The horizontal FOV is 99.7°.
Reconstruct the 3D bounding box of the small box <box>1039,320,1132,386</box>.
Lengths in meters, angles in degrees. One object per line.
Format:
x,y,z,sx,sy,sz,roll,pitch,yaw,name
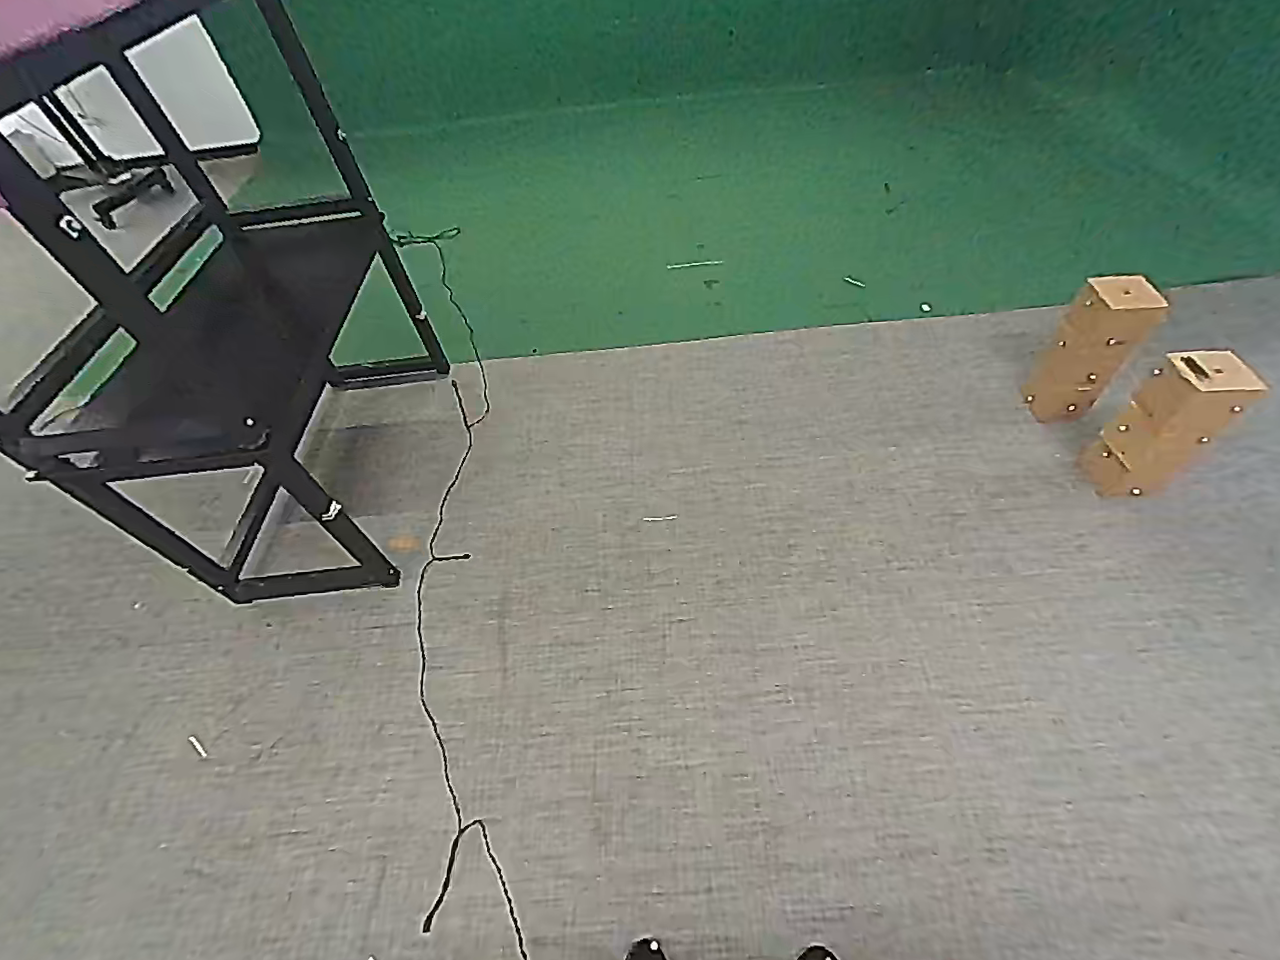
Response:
1.577,-0.455,1.929,0.168,0.176,0.179,-2,52,6,small box

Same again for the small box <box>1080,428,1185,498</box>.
1.640,-0.061,1.816,0.168,0.176,0.179,-4,52,4,small box

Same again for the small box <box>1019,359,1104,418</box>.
1.592,-0.347,2.053,0.168,0.176,0.179,-3,52,5,small box

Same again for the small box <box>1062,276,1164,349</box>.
1.563,-0.558,1.803,0.168,0.176,0.179,-1,52,7,small box

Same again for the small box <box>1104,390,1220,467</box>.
1.609,-0.156,1.688,0.179,0.176,0.168,-7,51,1,small box
